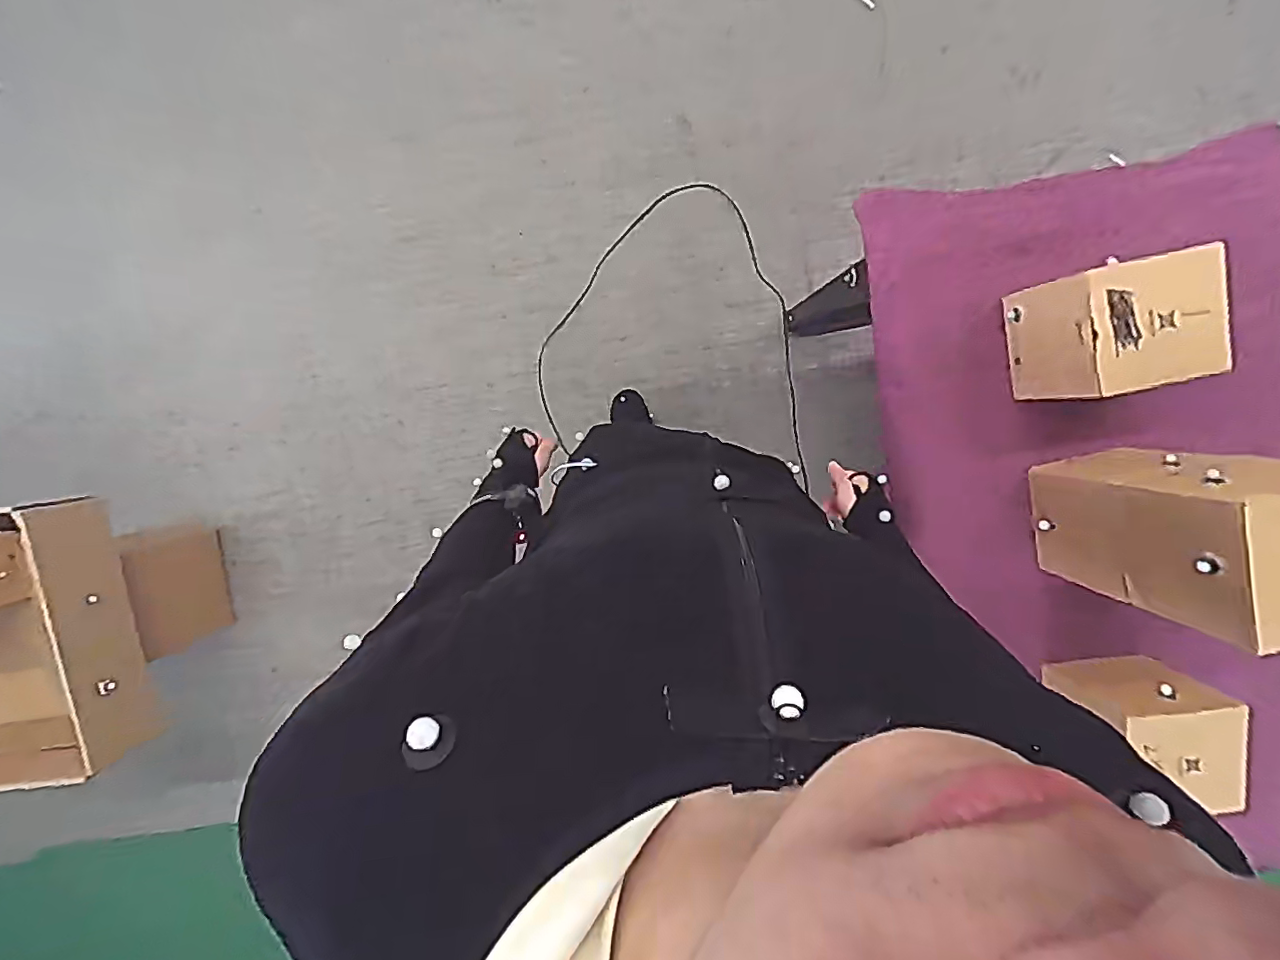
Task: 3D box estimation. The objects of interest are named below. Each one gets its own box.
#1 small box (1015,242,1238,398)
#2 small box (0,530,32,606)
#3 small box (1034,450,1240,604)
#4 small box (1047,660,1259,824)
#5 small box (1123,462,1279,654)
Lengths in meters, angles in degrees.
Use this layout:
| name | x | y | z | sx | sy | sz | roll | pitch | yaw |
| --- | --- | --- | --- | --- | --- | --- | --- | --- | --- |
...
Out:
| name | x | y | z | sx | sy | sz | roll | pitch | yaw |
| --- | --- | --- | --- | --- | --- | --- | --- | --- | --- |
| small box | 0.671 | -0.214 | 0.771 | 0.179 | 0.176 | 0.168 | -12 | 97 | 2 |
| small box | -1.508 | 0.210 | 1.175 | 0.179 | 0.176 | 0.168 | -6 | 96 | 1 |
| small box | 0.733 | 0.060 | 0.807 | 0.168 | 0.176 | 0.179 | -12 | 97 | 2 |
| small box | 0.789 | 0.398 | 0.848 | 0.179 | 0.176 | 0.168 | -6 | 97 | 2 |
| small box | 0.729 | 0.078 | 0.644 | 0.168 | 0.176 | 0.179 | -12 | 97 | 4 |
